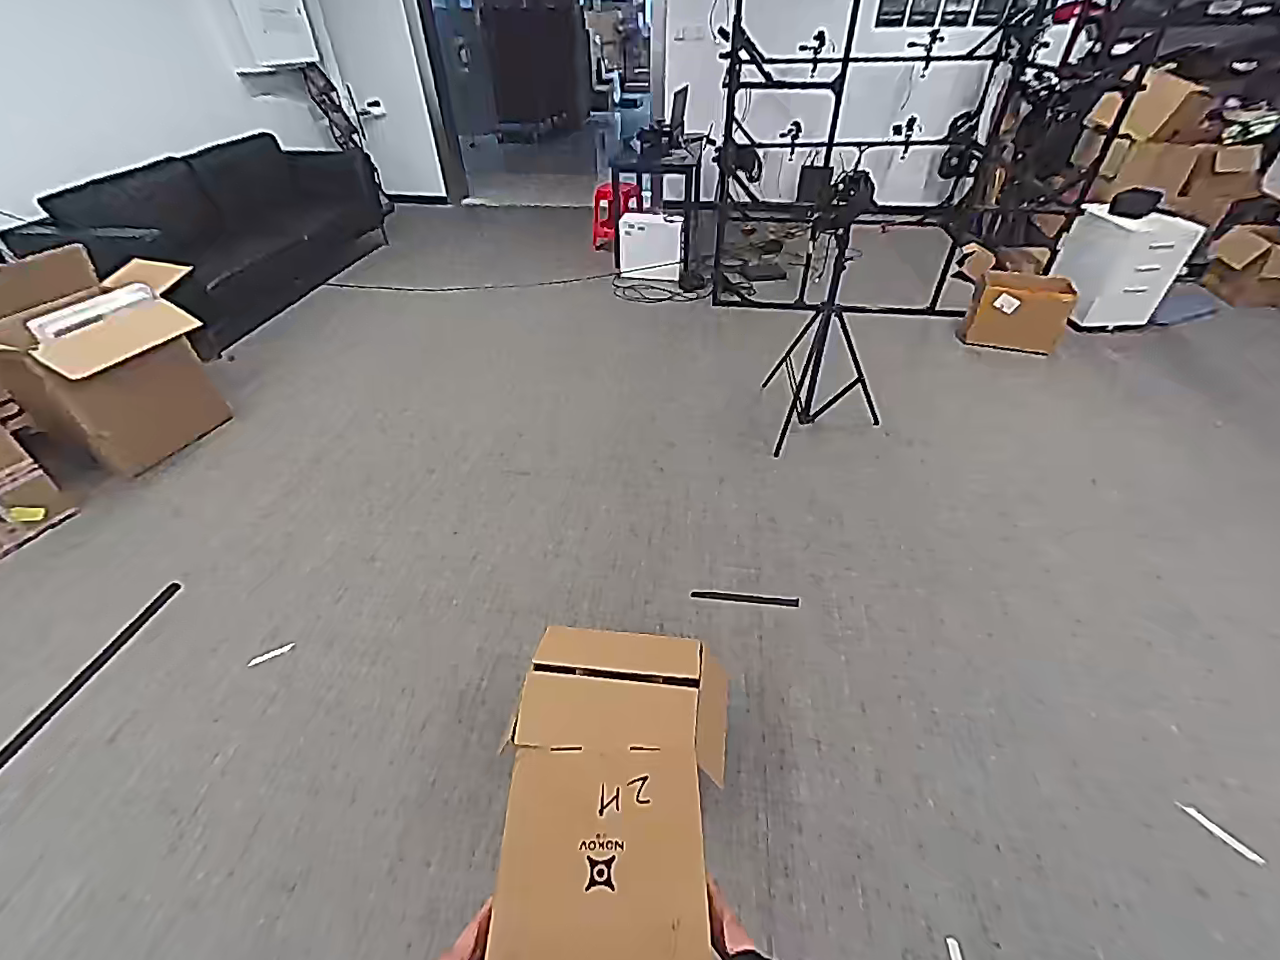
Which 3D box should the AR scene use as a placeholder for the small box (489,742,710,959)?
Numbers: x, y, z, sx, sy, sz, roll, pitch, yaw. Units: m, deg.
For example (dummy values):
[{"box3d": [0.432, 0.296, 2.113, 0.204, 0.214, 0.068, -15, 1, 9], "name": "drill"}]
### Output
[{"box3d": [-0.030, 0.365, 0.498, 0.168, 0.176, 0.179, 1, 42, -1], "name": "small box"}]
